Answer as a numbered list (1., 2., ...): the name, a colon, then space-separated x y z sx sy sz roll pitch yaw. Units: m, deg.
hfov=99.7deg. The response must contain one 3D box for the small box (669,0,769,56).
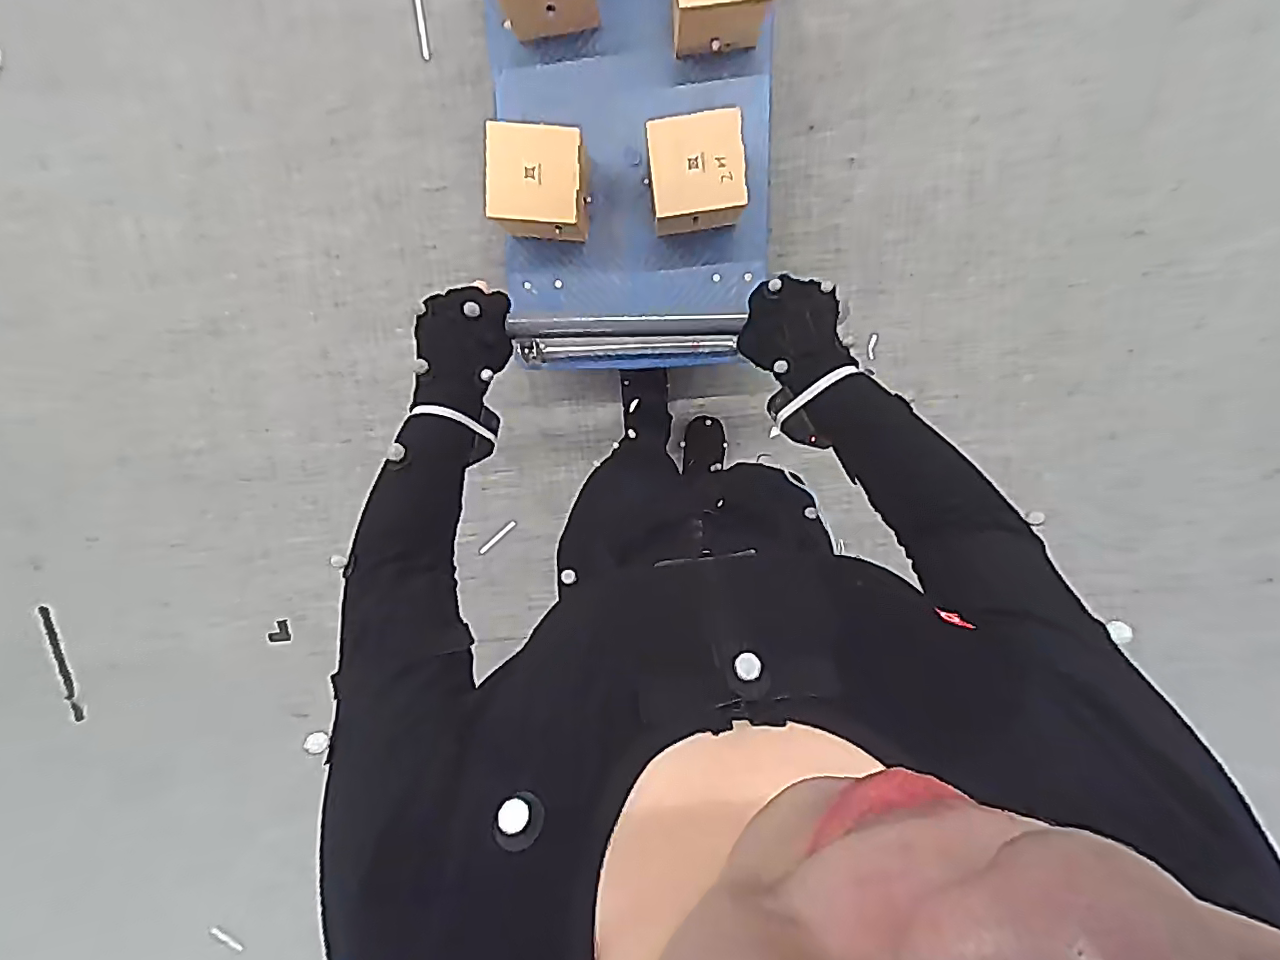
1. small box: 0.139 -0.930 0.996 0.168 0.176 0.179 -4 105 3

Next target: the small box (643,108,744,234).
1. small box: 0.104 -0.603 1.078 0.179 0.176 0.168 -7 104 3

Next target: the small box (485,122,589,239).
1. small box: -0.202 -0.593 1.090 0.179 0.176 0.168 4 103 -1
